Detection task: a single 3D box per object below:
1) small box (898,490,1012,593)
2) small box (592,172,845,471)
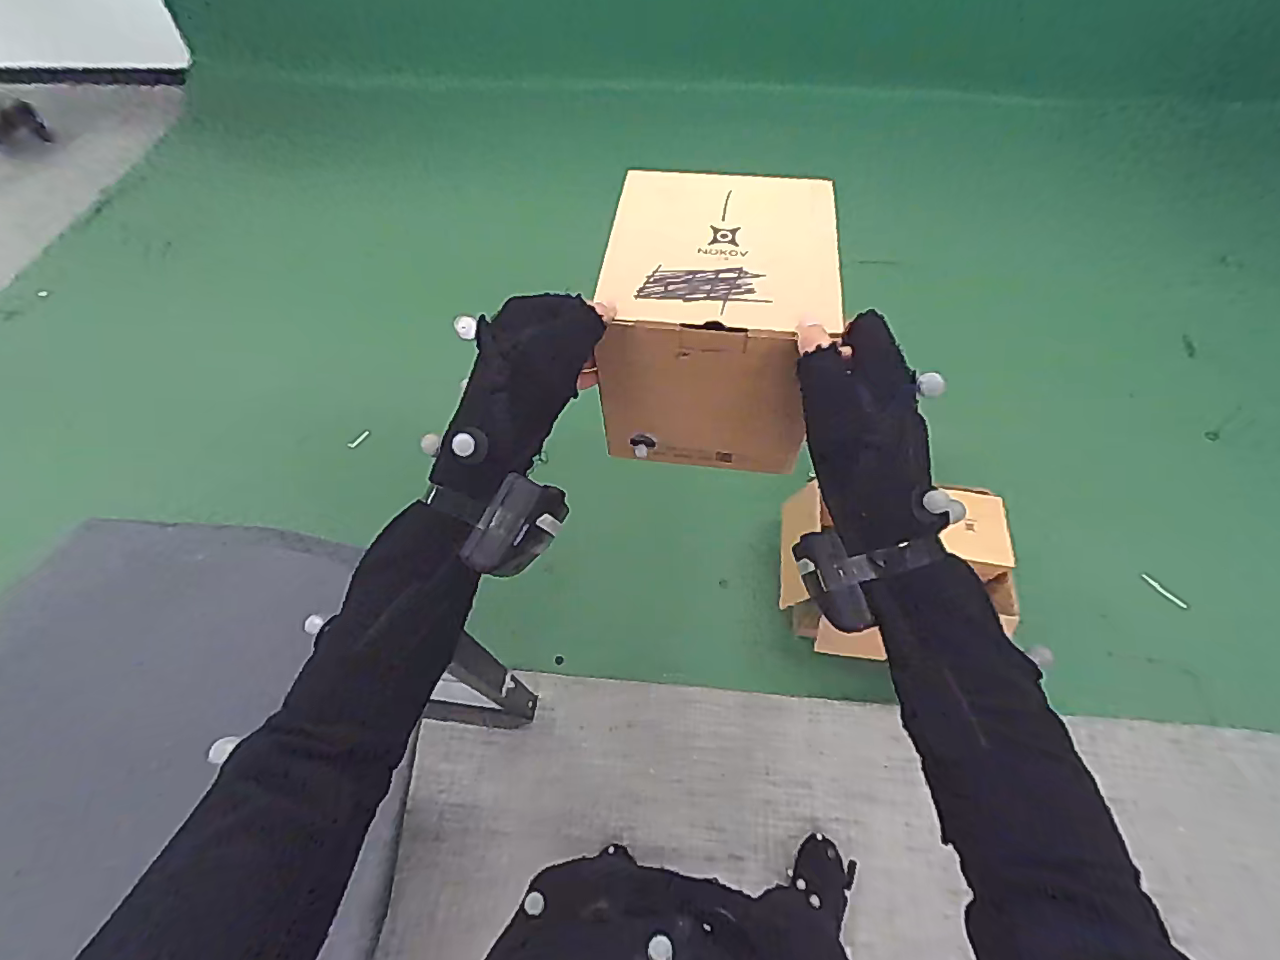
[{"bbox_3d":[0.721,0.149,1.258,0.168,0.176,0.179,9,59,4],"label":"small box"},{"bbox_3d":[0.064,-0.125,0.454,0.168,0.176,0.179,7,58,6],"label":"small box"}]
